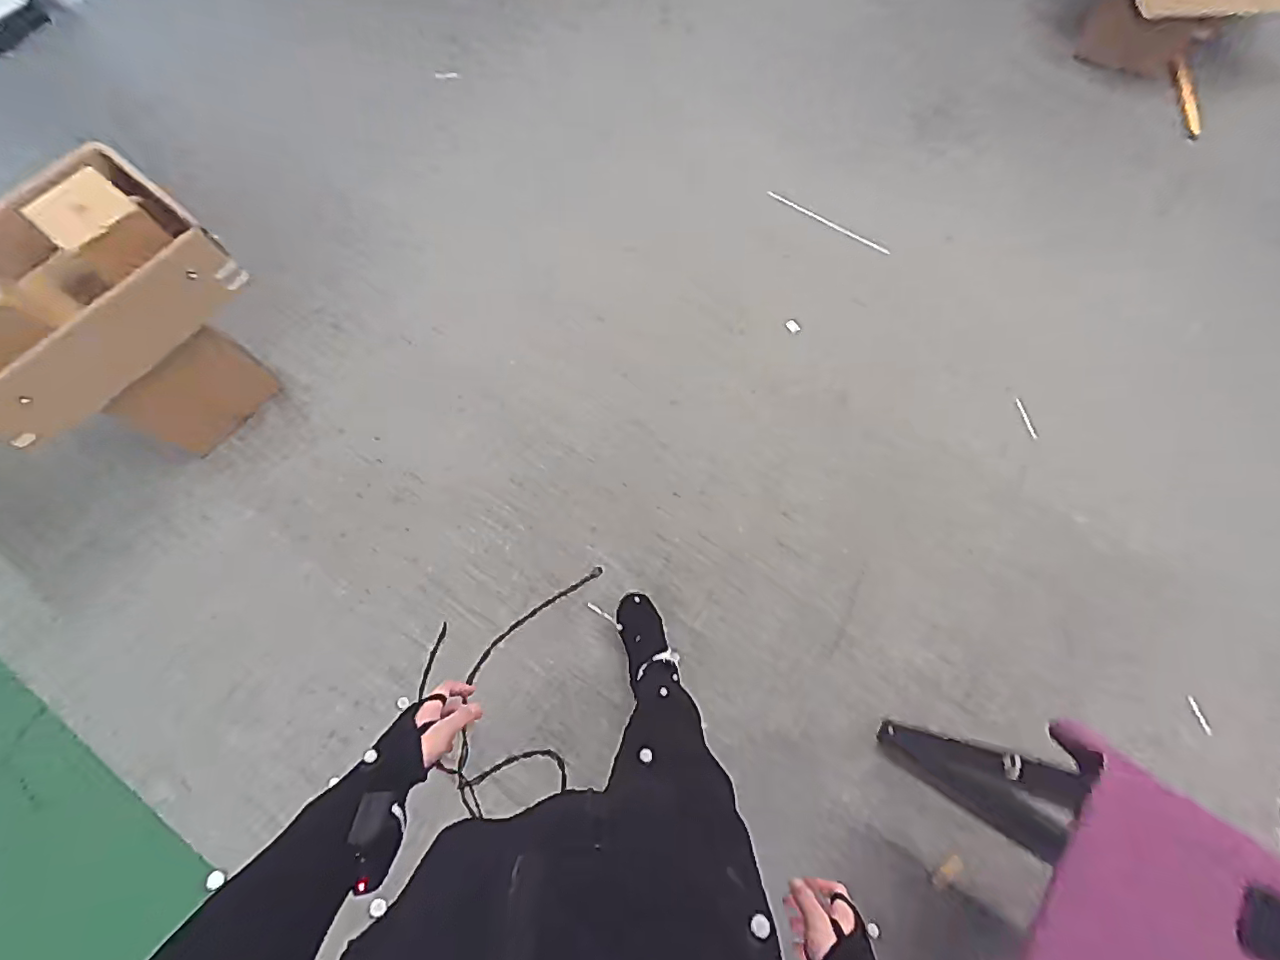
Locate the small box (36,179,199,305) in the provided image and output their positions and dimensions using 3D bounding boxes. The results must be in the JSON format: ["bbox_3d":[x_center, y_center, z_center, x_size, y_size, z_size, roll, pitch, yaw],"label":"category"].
[{"bbox_3d":[-1.197,-0.543,1.252,0.179,0.176,0.168,38,76,11],"label":"small box"}]
